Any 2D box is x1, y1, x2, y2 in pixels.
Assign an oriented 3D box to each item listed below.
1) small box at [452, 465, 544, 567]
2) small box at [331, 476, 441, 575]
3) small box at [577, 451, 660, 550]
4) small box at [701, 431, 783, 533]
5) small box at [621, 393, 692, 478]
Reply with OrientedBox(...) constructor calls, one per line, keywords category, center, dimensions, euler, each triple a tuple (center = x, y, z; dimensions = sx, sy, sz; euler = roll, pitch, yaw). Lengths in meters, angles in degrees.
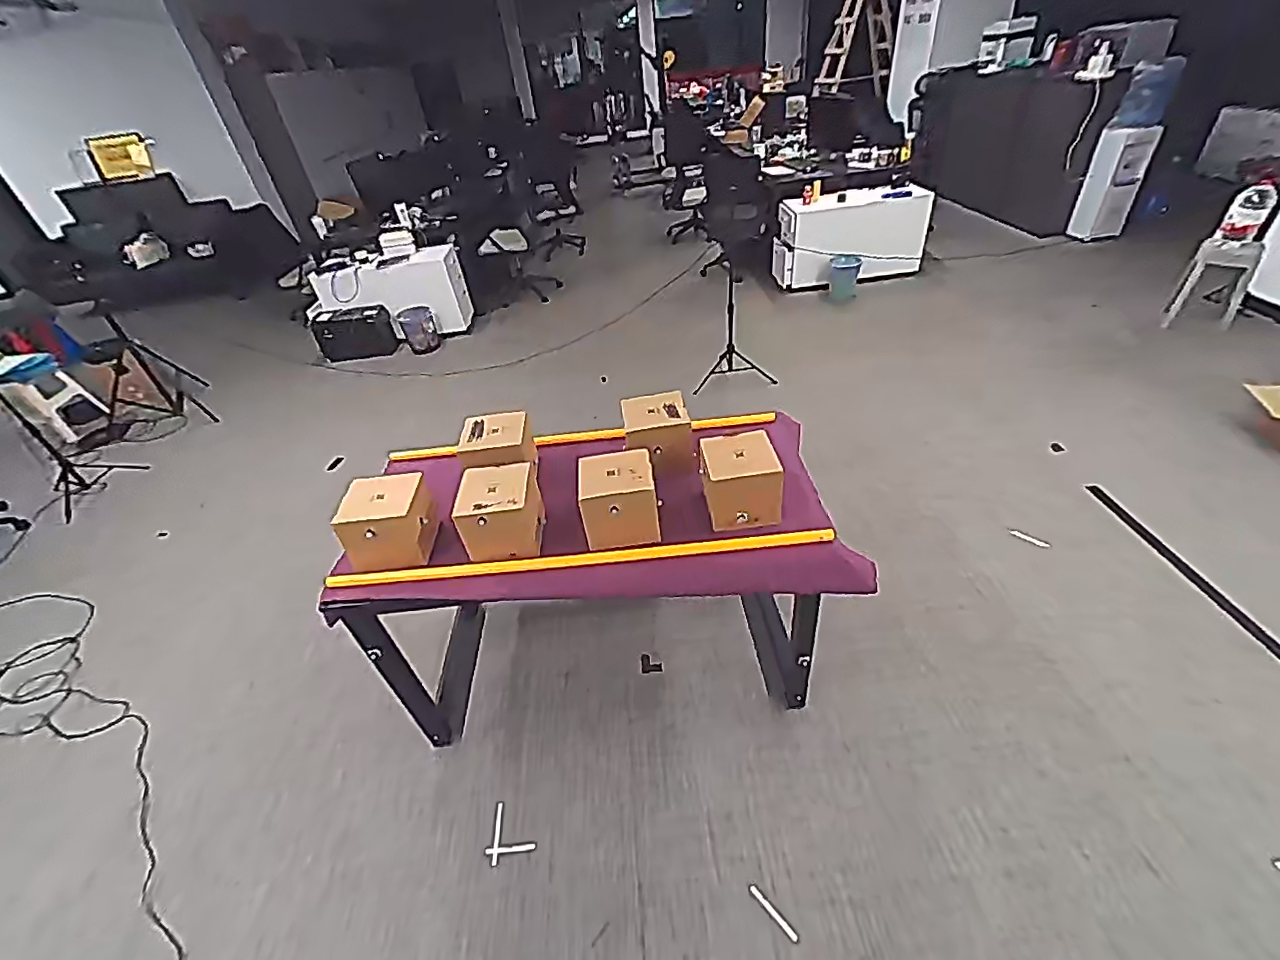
OrientedBox(category="small box", center=(-0.335, 0.088, 1.321), dimensions=(0.168, 0.176, 0.179), euler=(-8, 38, 2))
OrientedBox(category="small box", center=(-0.614, 0.113, 1.337), dimensions=(0.179, 0.176, 0.168), euler=(-7, 38, 0))
OrientedBox(category="small box", center=(-0.051, 0.053, 1.311), dimensions=(0.179, 0.176, 0.168), euler=(-8, 37, 0))
OrientedBox(category="small box", center=(0.244, 0.004, 1.318), dimensions=(0.168, 0.176, 0.179), euler=(-9, 36, 2))
OrientedBox(category="small box", center=(0.048, -0.120, 1.511), dimensions=(0.179, 0.176, 0.168), euler=(-9, 39, 0))
